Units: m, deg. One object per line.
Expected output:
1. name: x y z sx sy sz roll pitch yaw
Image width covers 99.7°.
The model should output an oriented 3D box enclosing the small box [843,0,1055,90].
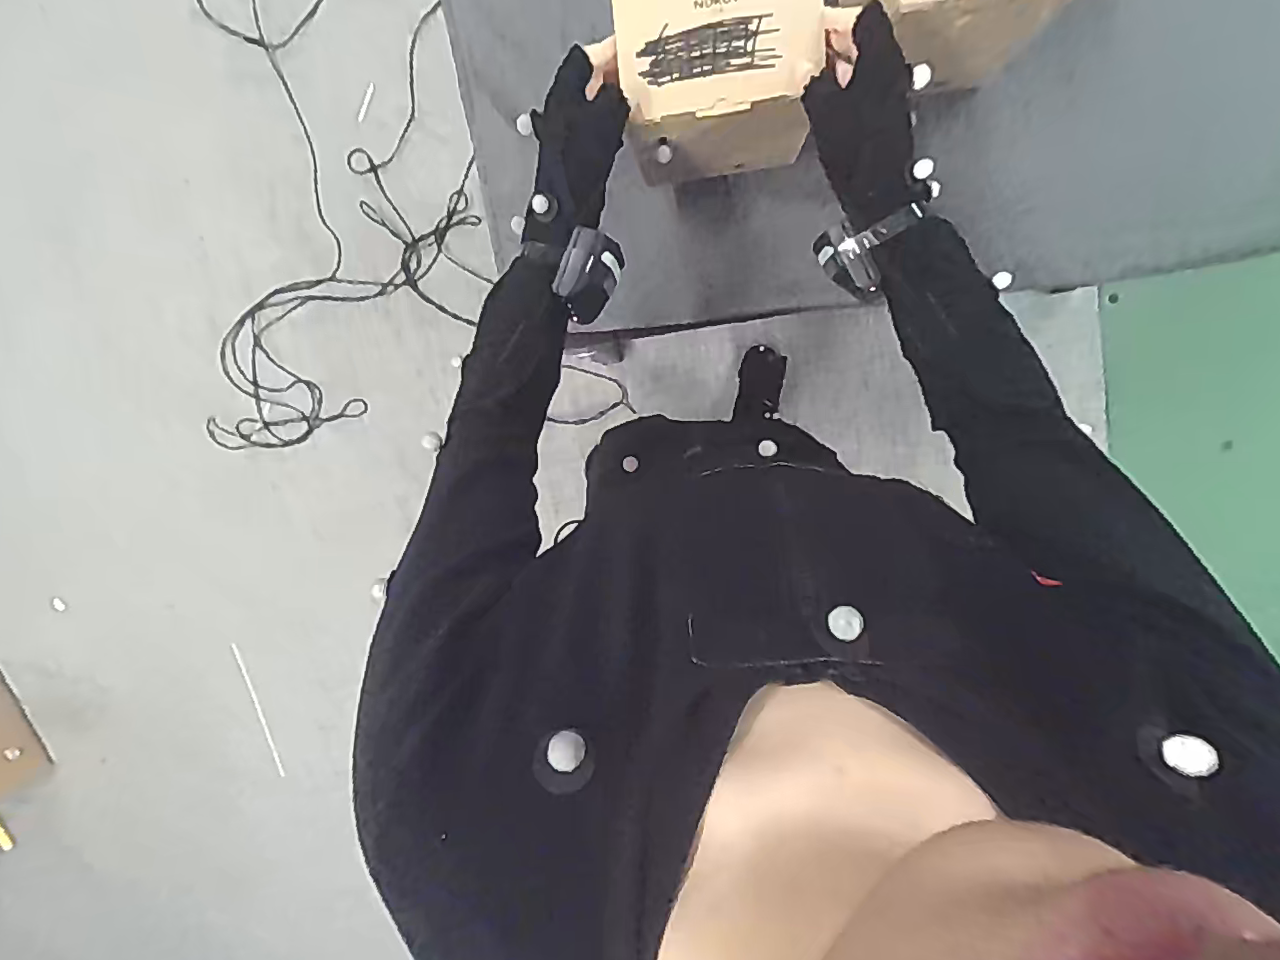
1. small box: 0.308 -0.522 0.535 0.168 0.176 0.179 -4 99 5
